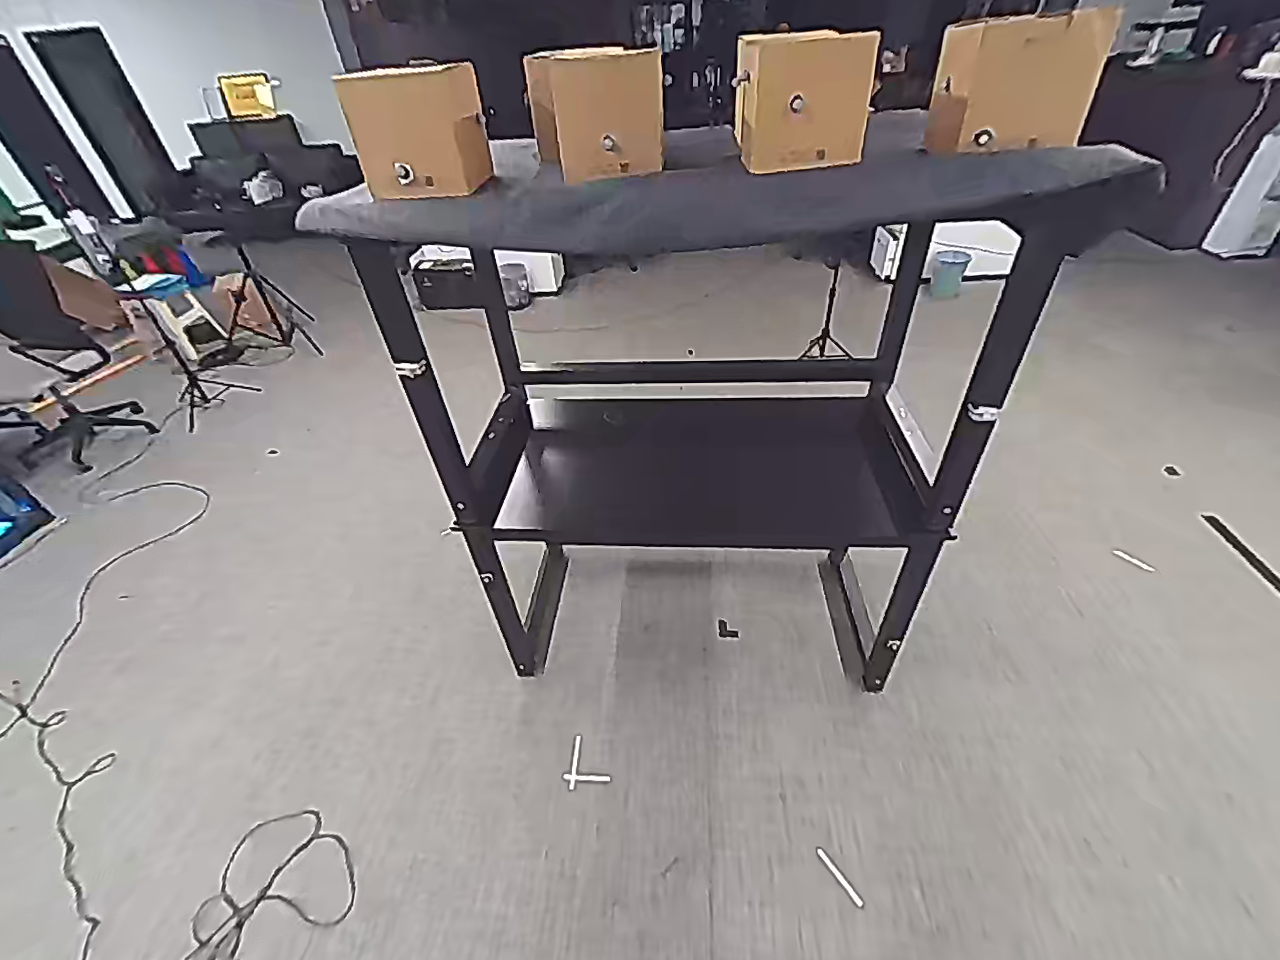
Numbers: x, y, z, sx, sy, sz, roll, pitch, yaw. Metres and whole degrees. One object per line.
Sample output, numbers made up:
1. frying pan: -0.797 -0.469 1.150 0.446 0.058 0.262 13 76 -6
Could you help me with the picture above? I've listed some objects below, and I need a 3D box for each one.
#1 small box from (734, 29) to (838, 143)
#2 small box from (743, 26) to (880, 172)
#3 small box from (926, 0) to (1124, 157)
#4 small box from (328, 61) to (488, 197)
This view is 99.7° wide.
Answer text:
1. small box: 0.276 -0.765 1.055 0.168 0.176 0.179 -1 40 5
2. small box: 0.254 -0.587 0.843 0.168 0.176 0.179 -1 38 5
3. small box: 0.553 -0.589 0.809 0.168 0.176 0.179 1 36 8
4. small box: -0.358 -0.570 0.880 0.168 0.176 0.179 -2 39 4
